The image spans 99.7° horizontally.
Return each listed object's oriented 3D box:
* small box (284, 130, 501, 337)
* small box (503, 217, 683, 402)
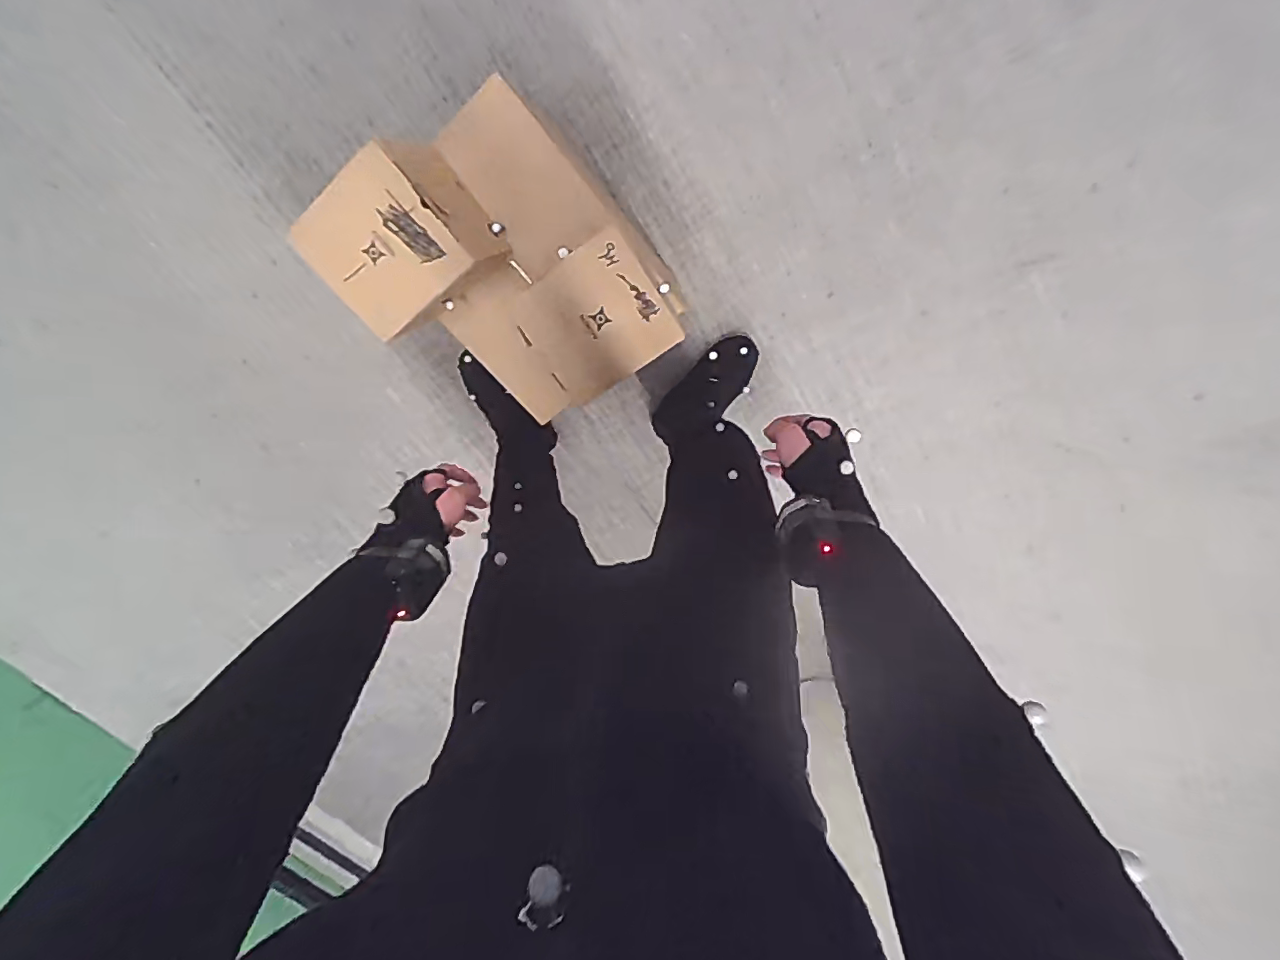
[{"bbox_3d":[-0.307,-0.323,0.718,0.179,0.176,0.168,-31,111,18],"label":"small box"},{"bbox_3d":[-0.056,-0.238,0.753,0.179,0.176,0.168,-31,111,13],"label":"small box"}]
